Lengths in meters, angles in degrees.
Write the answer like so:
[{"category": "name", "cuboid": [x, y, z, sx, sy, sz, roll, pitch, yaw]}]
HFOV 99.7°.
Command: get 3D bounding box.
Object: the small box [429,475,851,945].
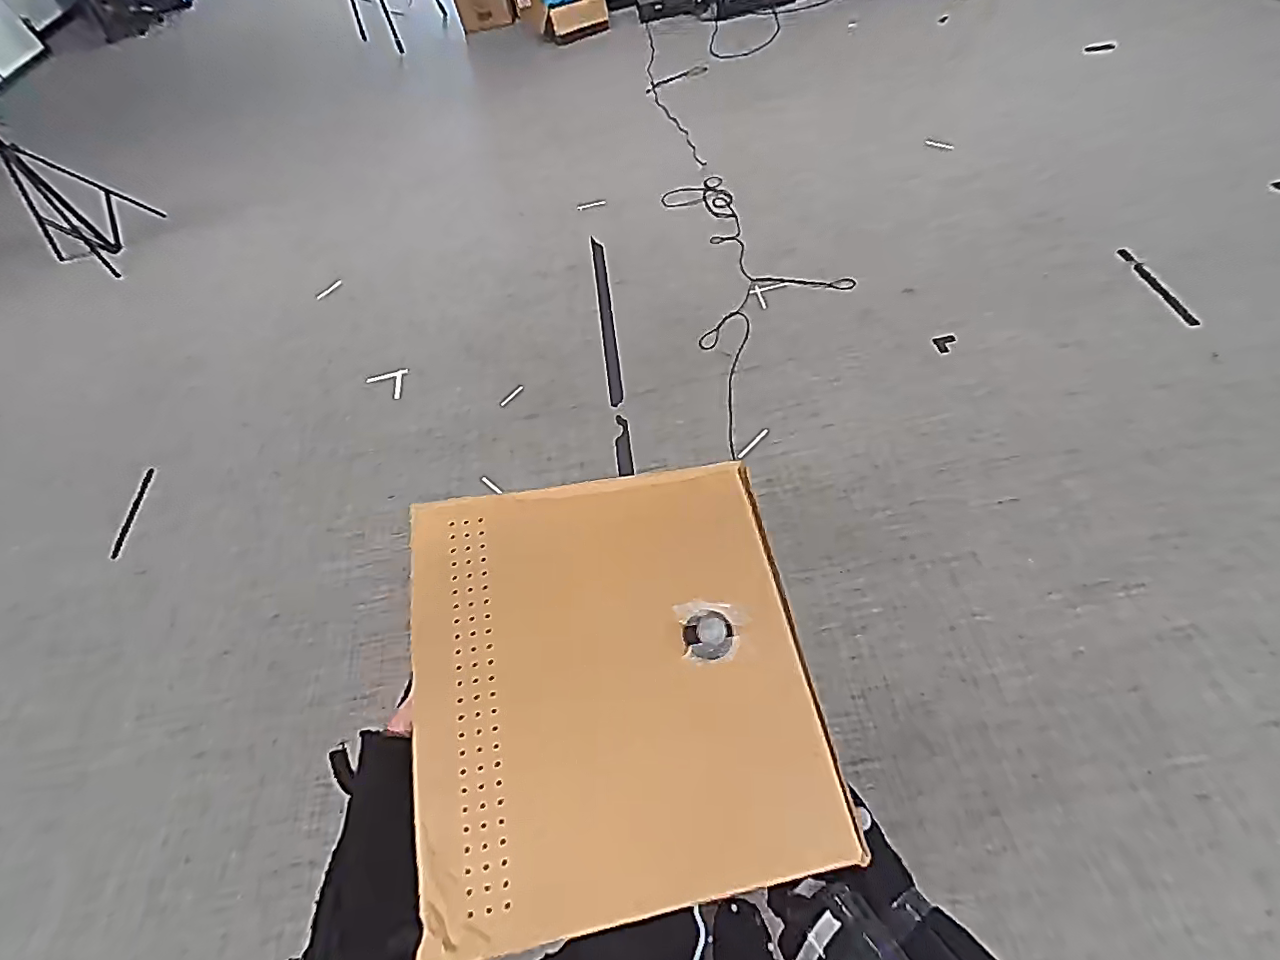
[{"category": "small box", "cuboid": [-0.017, 0.119, 0.312, 0.176, 0.168, 0.179, -8, 64, -8]}]
